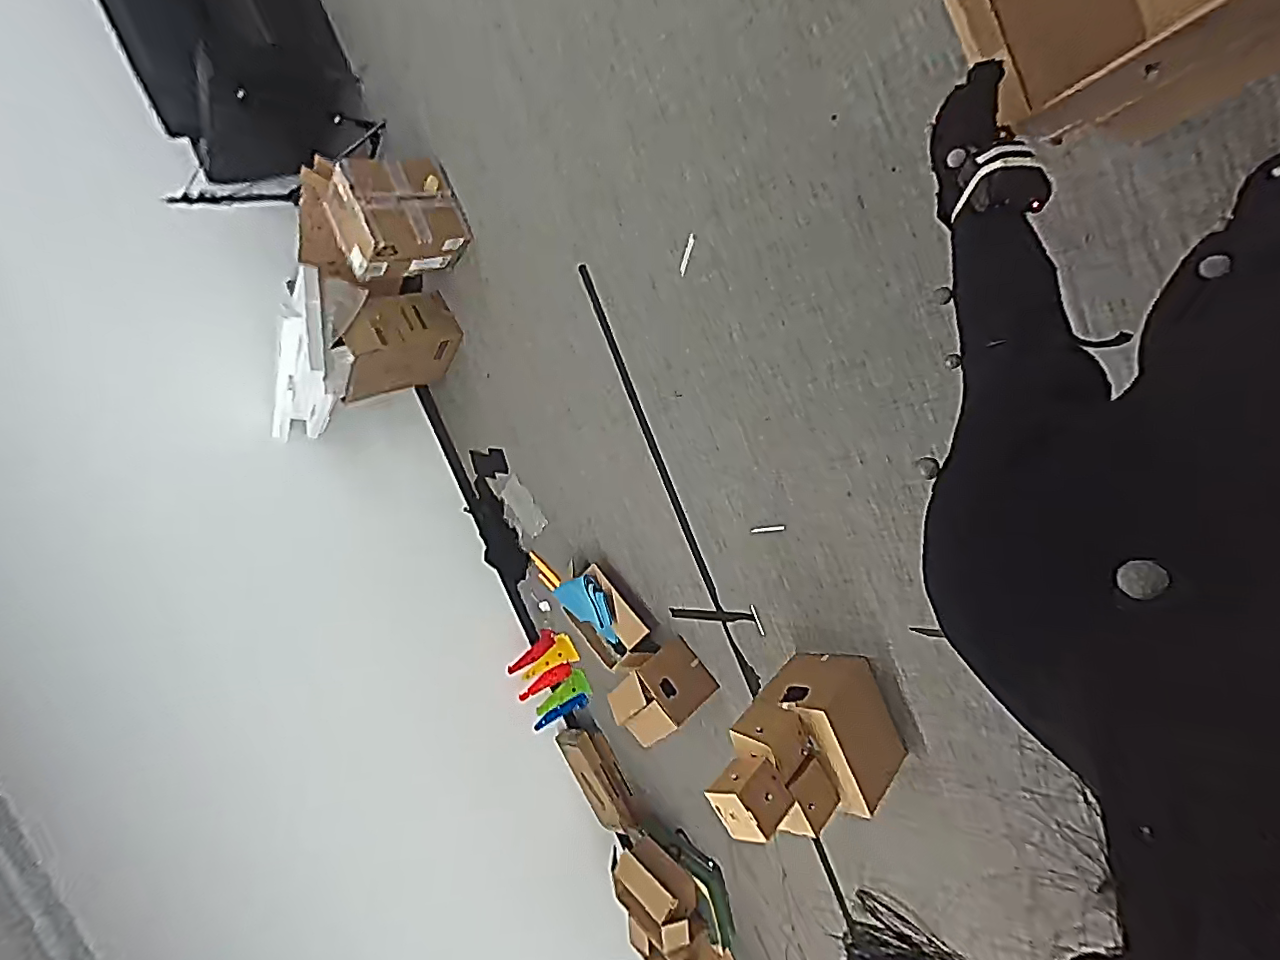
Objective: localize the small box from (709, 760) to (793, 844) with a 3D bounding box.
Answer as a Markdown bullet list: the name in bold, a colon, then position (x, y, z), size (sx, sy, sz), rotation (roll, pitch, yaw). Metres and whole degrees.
- **small box**: position (0.360, 1.016, 1.718), size (0.168, 0.176, 0.179), rotation (57, 140, 8)

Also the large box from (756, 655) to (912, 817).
- **large box**: position (0.691, 0.884, 1.925), size (0.320, 0.320, 0.408), rotation (-22, 93, 51)
